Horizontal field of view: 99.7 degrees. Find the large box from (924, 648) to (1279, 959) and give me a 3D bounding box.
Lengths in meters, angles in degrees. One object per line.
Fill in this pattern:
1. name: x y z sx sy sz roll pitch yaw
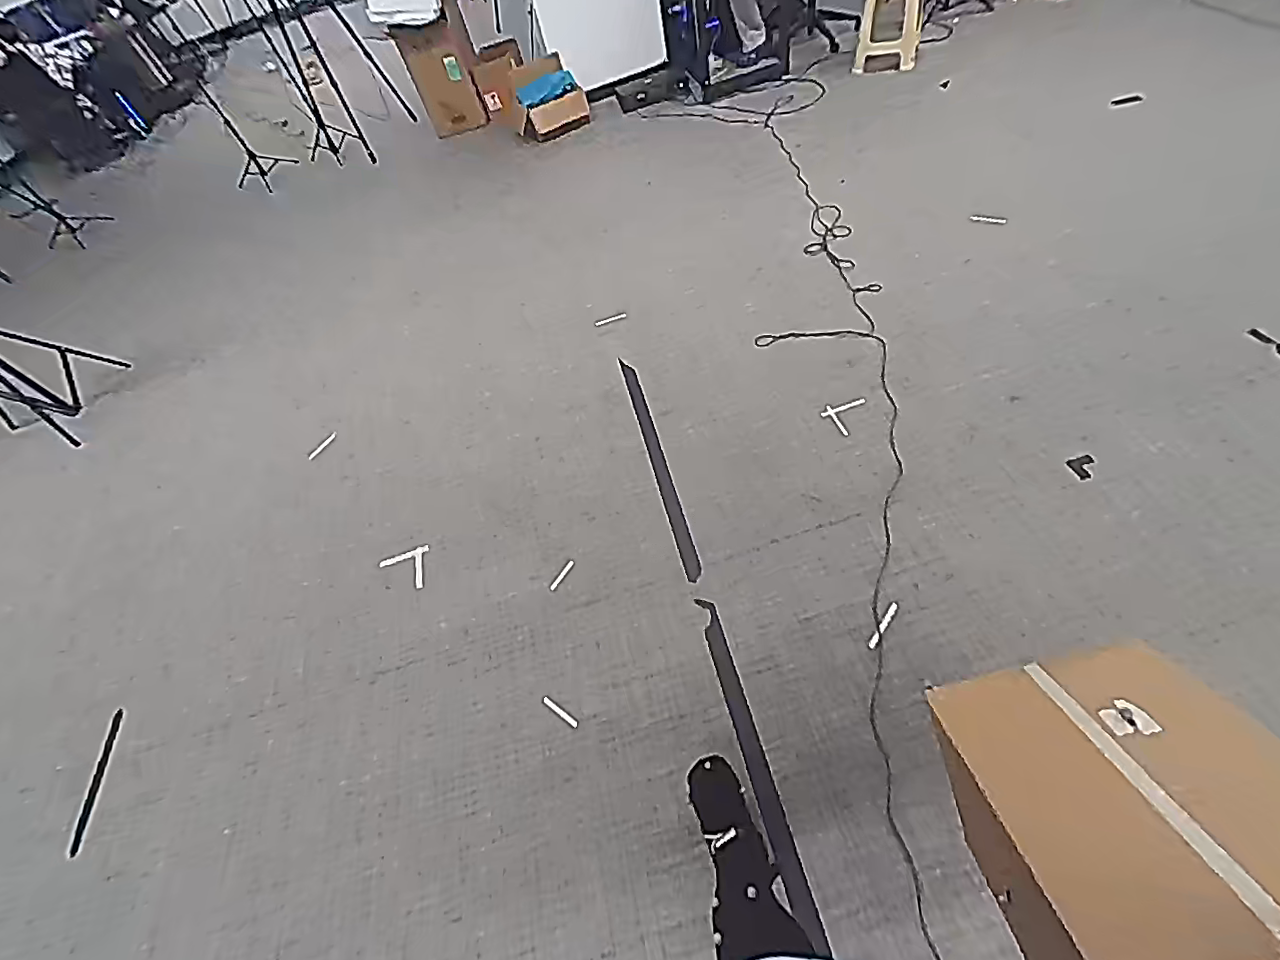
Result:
1. large box: 0.626 0.485 0.675 0.320 0.320 0.408 -18 13 10
